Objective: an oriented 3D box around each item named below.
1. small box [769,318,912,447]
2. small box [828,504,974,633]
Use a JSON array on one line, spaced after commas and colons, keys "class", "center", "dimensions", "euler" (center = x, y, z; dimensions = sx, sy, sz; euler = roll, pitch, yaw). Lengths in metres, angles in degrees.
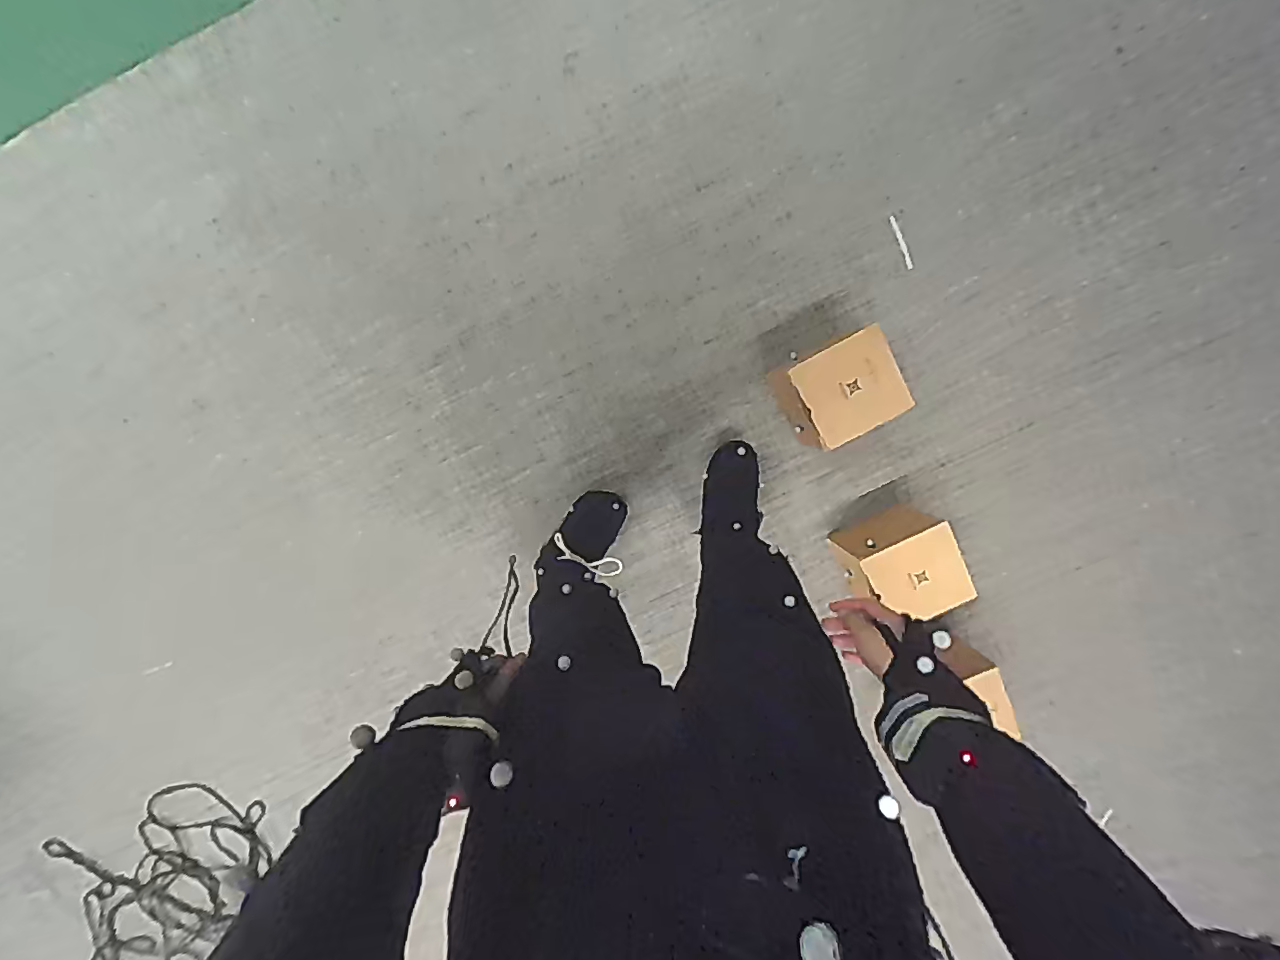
[{"class": "small box", "center": [0.358, -0.178, 1.008], "dimensions": [0.179, 0.176, 0.168], "euler": [-29, 99, 3]}, {"class": "small box", "center": [0.503, 0.164, 1.065], "dimensions": [0.179, 0.176, 0.168], "euler": [-26, 99, 3]}]
